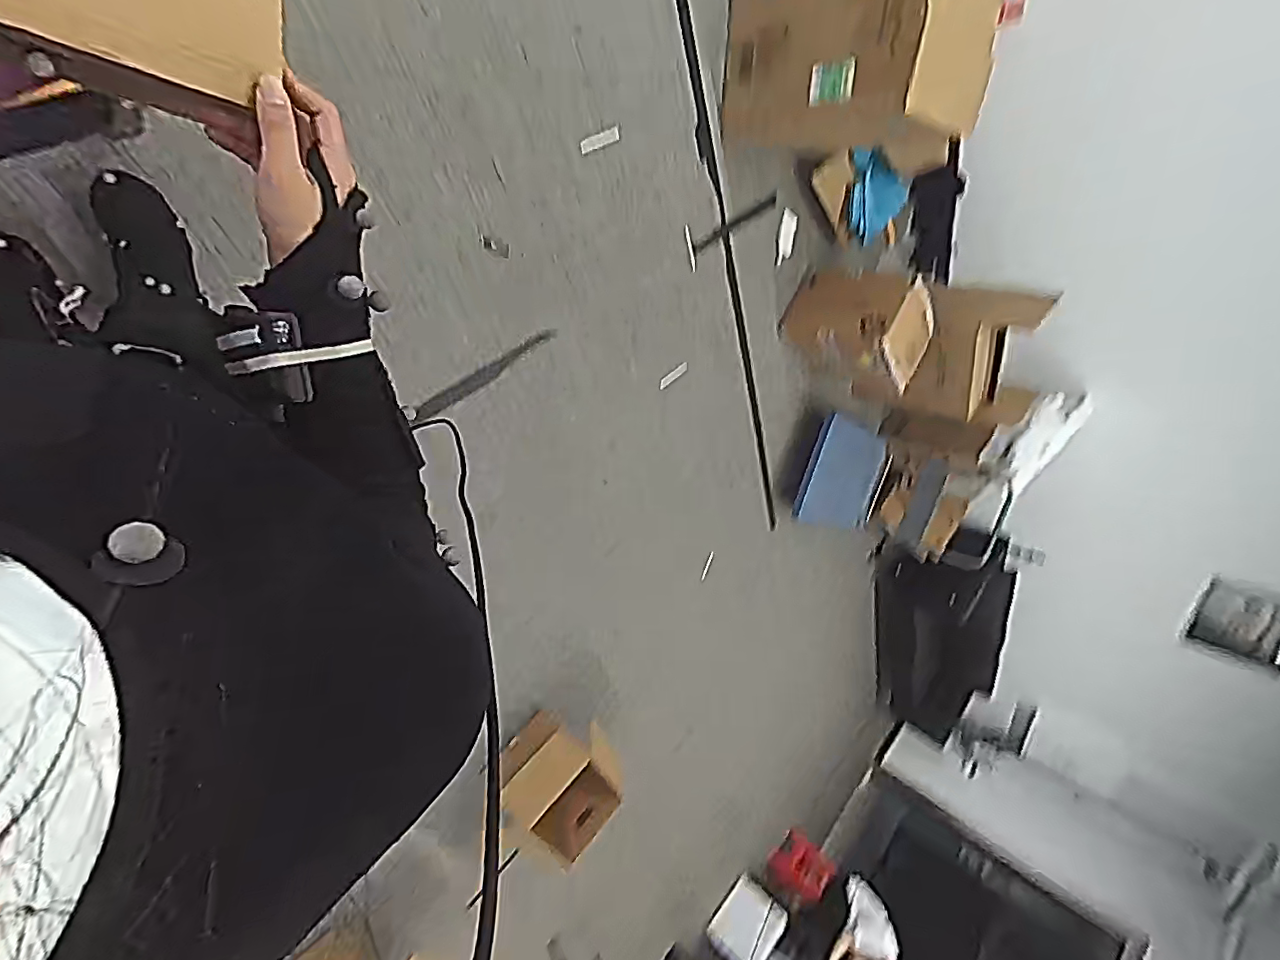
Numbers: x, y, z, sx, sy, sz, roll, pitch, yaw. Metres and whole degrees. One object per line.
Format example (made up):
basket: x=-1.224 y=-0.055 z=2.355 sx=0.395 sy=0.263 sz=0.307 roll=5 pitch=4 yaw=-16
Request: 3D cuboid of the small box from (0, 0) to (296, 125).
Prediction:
small box: x=-0.311 y=-0.312 z=0.288 sx=0.179 sy=0.176 sz=0.168 roll=-11 pitch=120 yaw=-52
